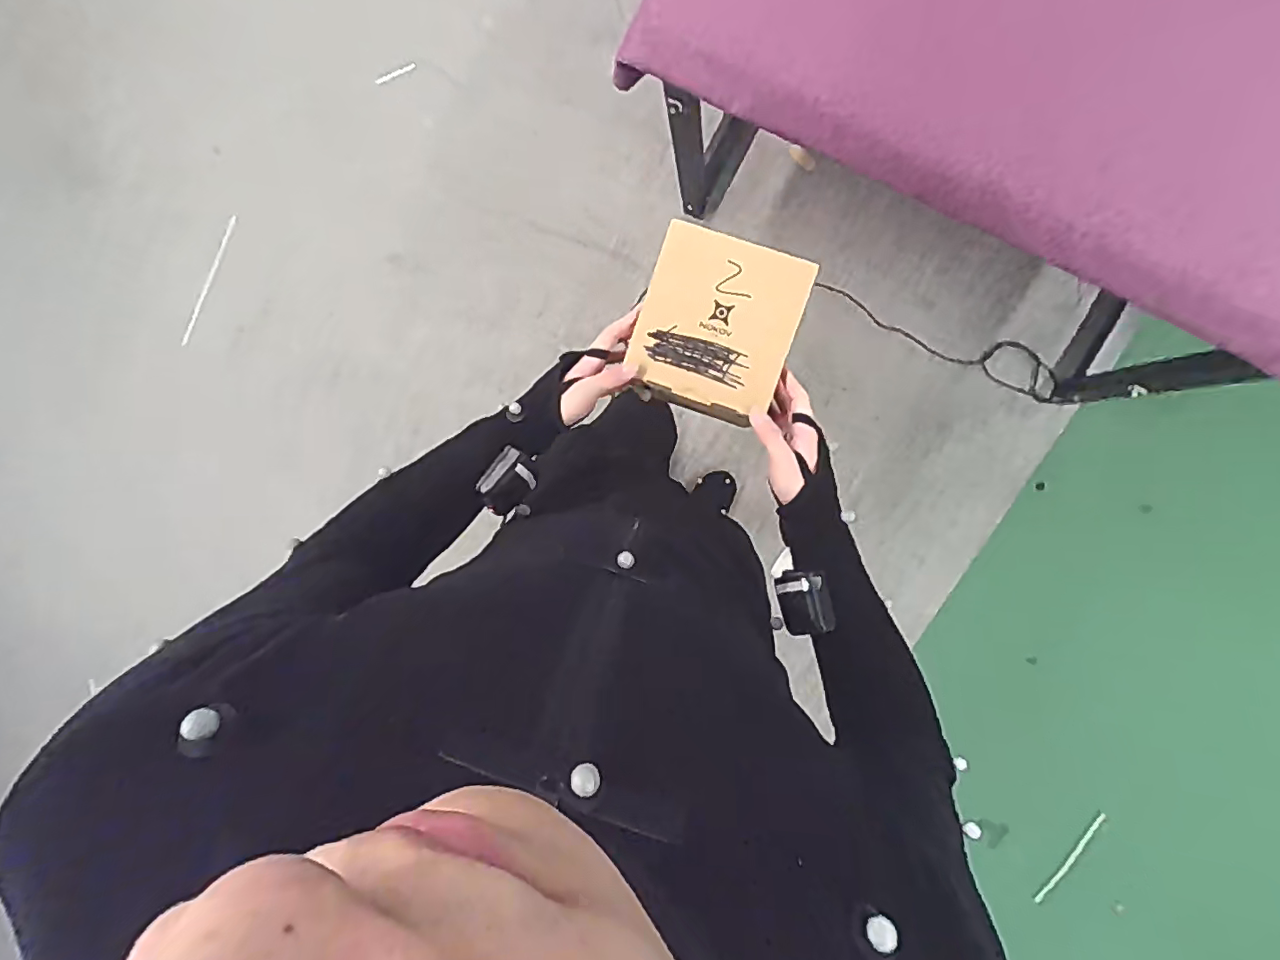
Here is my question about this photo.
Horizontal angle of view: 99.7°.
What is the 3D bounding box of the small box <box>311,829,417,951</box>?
[{"bbox_3d":[-0.767,1.144,1.522,0.168,0.176,0.179,34,97,4],"label":"small box"}]
